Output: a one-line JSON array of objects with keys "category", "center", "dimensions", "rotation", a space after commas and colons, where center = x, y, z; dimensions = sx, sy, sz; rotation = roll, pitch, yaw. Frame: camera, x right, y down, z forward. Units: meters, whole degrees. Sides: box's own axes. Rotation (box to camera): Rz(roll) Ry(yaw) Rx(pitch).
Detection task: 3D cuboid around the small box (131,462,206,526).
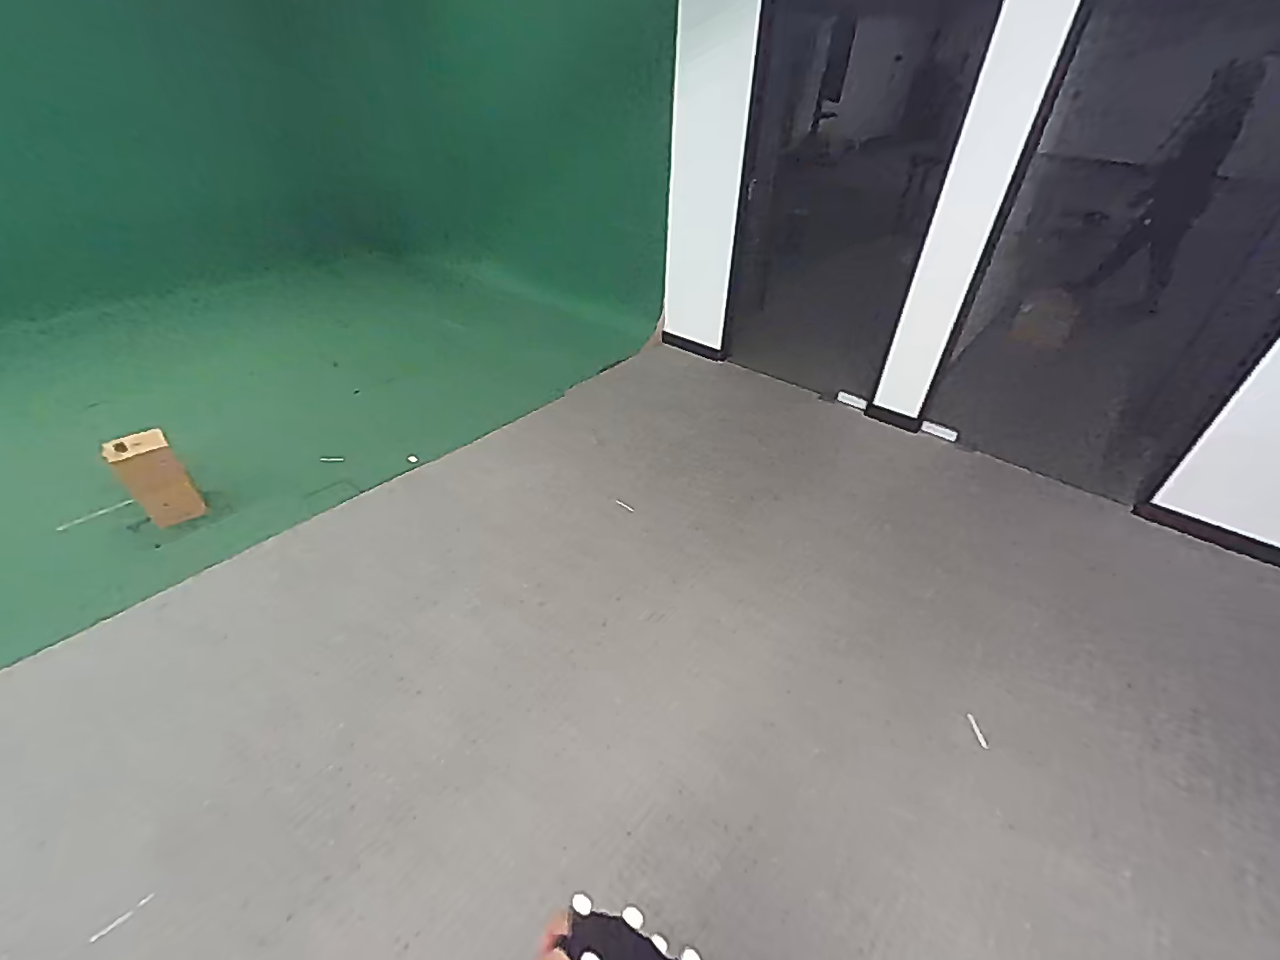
[{"category": "small box", "center": [-1.868, 0.061, 2.148], "dimensions": [0.168, 0.176, 0.179], "rotation": [-27, 47, -33]}]
